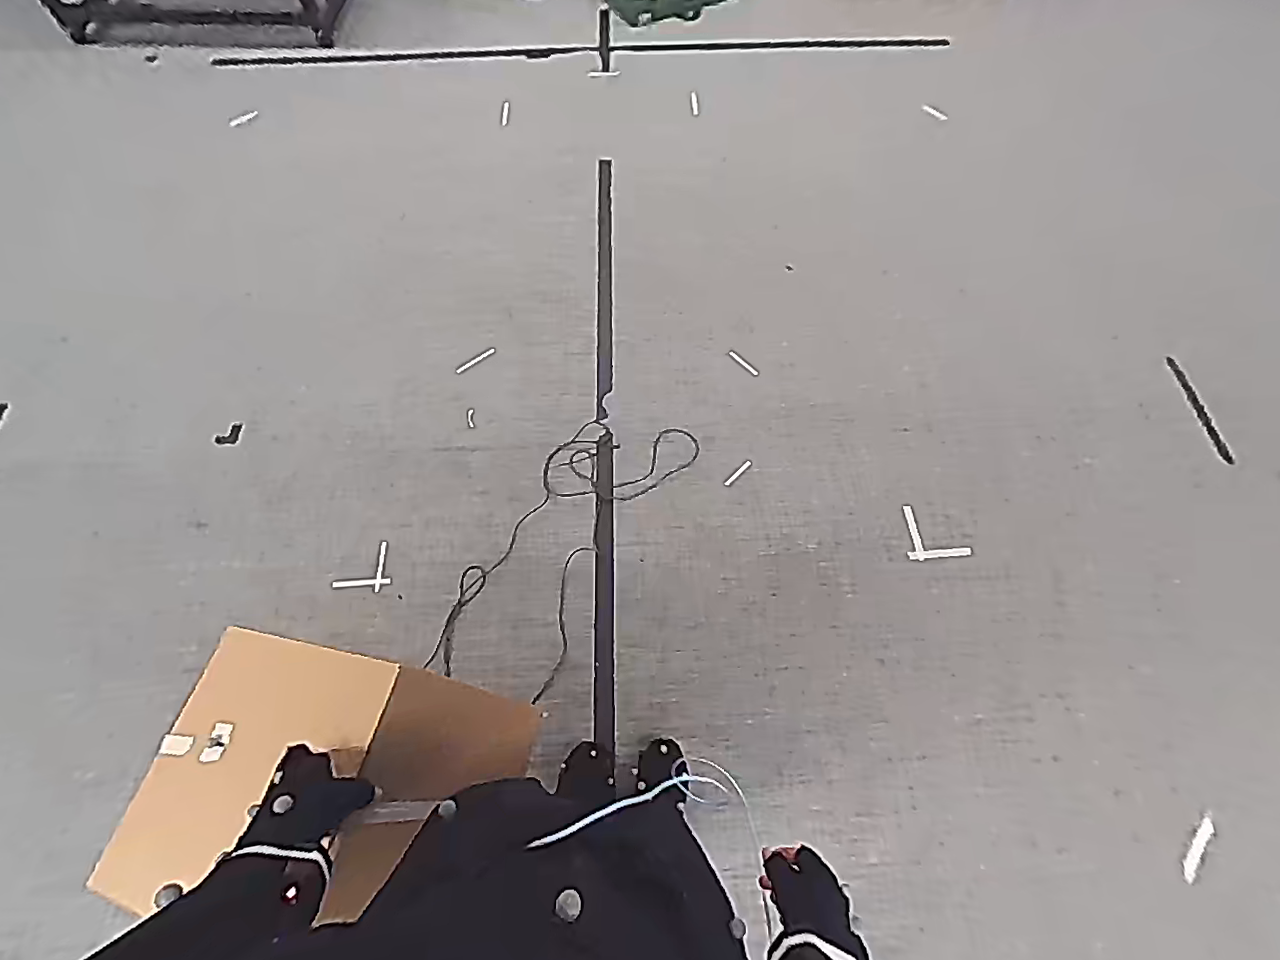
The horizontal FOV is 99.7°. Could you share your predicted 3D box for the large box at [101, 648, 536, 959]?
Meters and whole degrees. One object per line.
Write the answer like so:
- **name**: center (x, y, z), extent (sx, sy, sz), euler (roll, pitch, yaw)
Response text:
- **large box**: center (-0.412, 0.461, 0.807), extent (0.320, 0.408, 0.320), euler (5, 63, 19)
